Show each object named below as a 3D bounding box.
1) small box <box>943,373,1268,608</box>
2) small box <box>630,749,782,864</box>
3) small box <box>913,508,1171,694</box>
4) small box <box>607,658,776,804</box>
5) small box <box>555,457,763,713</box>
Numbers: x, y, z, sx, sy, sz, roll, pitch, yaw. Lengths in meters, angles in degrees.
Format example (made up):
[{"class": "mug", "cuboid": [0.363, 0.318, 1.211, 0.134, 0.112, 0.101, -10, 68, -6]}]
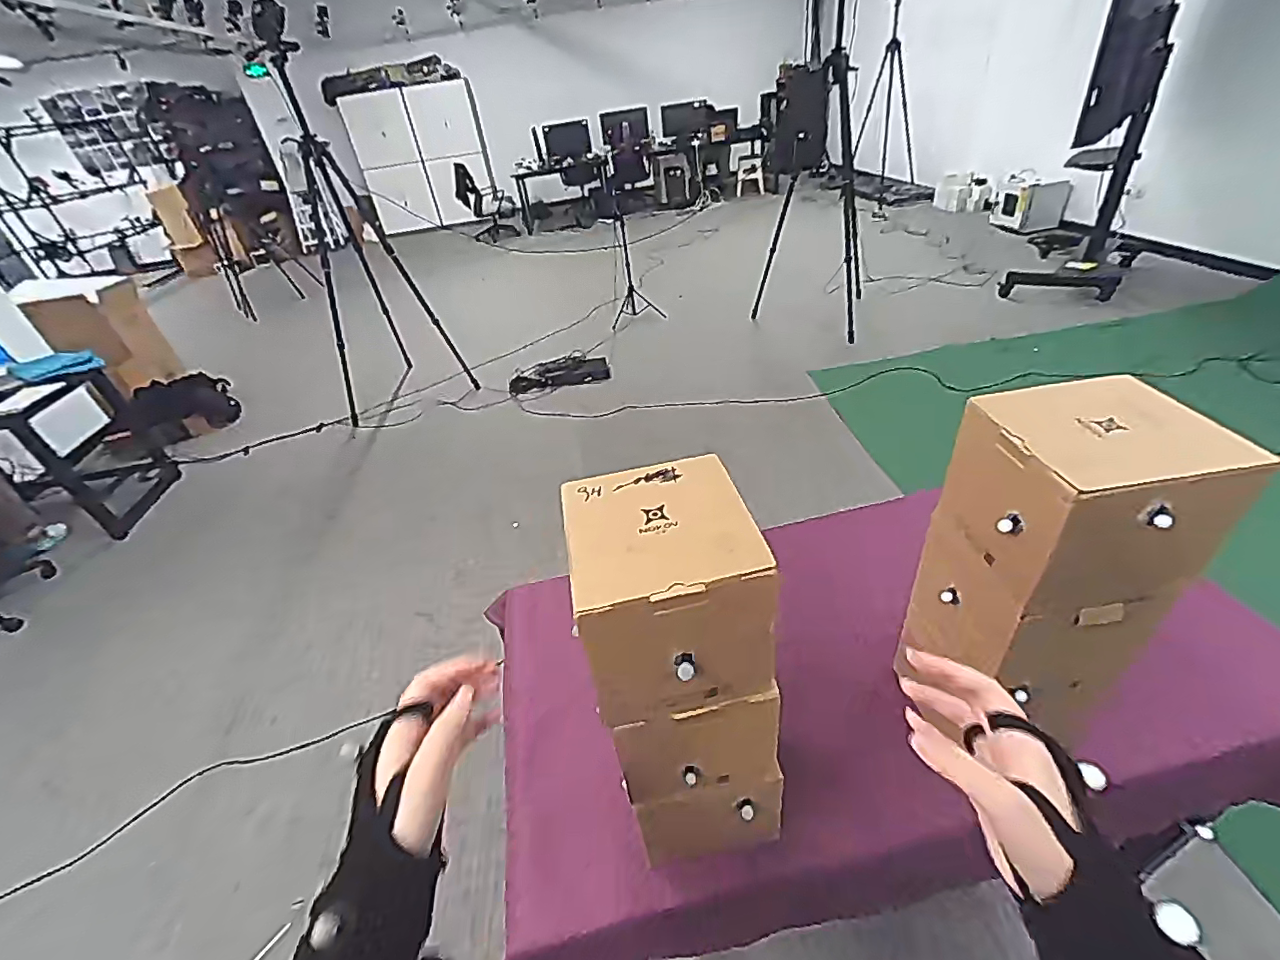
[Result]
[{"class": "small box", "cuboid": [0.441, 0.013, 0.558, 0.179, 0.176, 0.168, -9, 38, 1]}, {"class": "small box", "cuboid": [0.076, 0.372, 0.717, 0.179, 0.176, 0.168, -11, 35, -2]}, {"class": "small box", "cuboid": [0.462, 0.139, 0.659, 0.168, 0.176, 0.179, -10, 35, 0]}, {"class": "small box", "cuboid": [0.049, 0.237, 0.629, 0.168, 0.176, 0.179, -11, 36, -2]}, {"class": "small box", "cuboid": [0.017, 0.106, 0.535, 0.168, 0.176, 0.179, -12, 37, -4]}]
